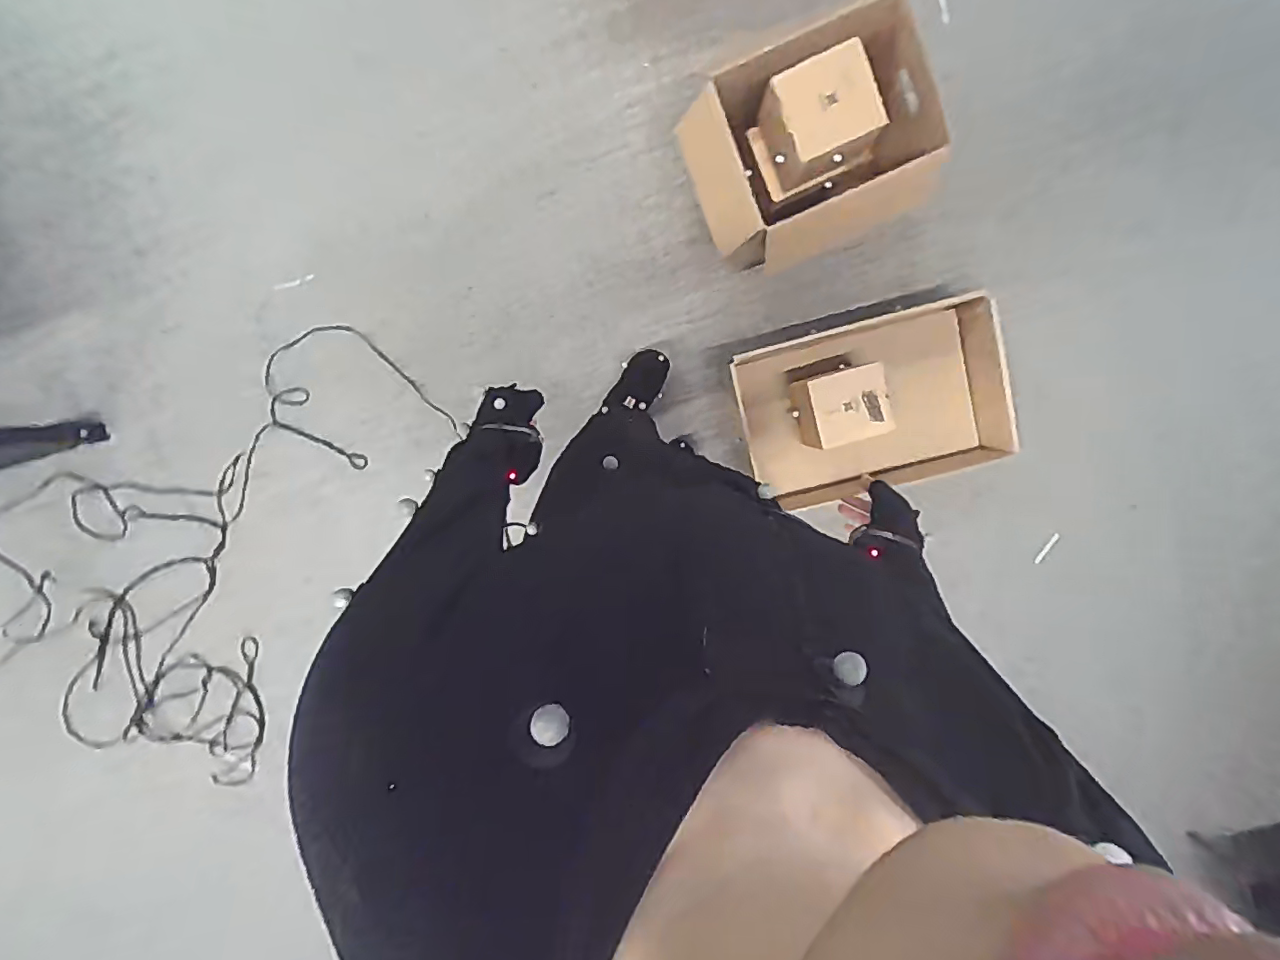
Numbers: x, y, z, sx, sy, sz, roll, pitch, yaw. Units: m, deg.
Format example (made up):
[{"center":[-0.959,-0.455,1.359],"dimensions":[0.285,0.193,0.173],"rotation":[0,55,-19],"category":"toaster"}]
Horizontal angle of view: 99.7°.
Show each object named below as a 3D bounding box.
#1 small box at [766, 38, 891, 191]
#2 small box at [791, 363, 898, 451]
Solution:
[{"center":[0.368,-0.724,1.096],"dimensions":[0.179,0.176,0.168],"rotation":[-22,97,5],"category":"small box"},{"center":[0.486,-0.177,1.302],"dimensions":[0.179,0.176,0.168],"rotation":[-16,98,2],"category":"small box"}]
